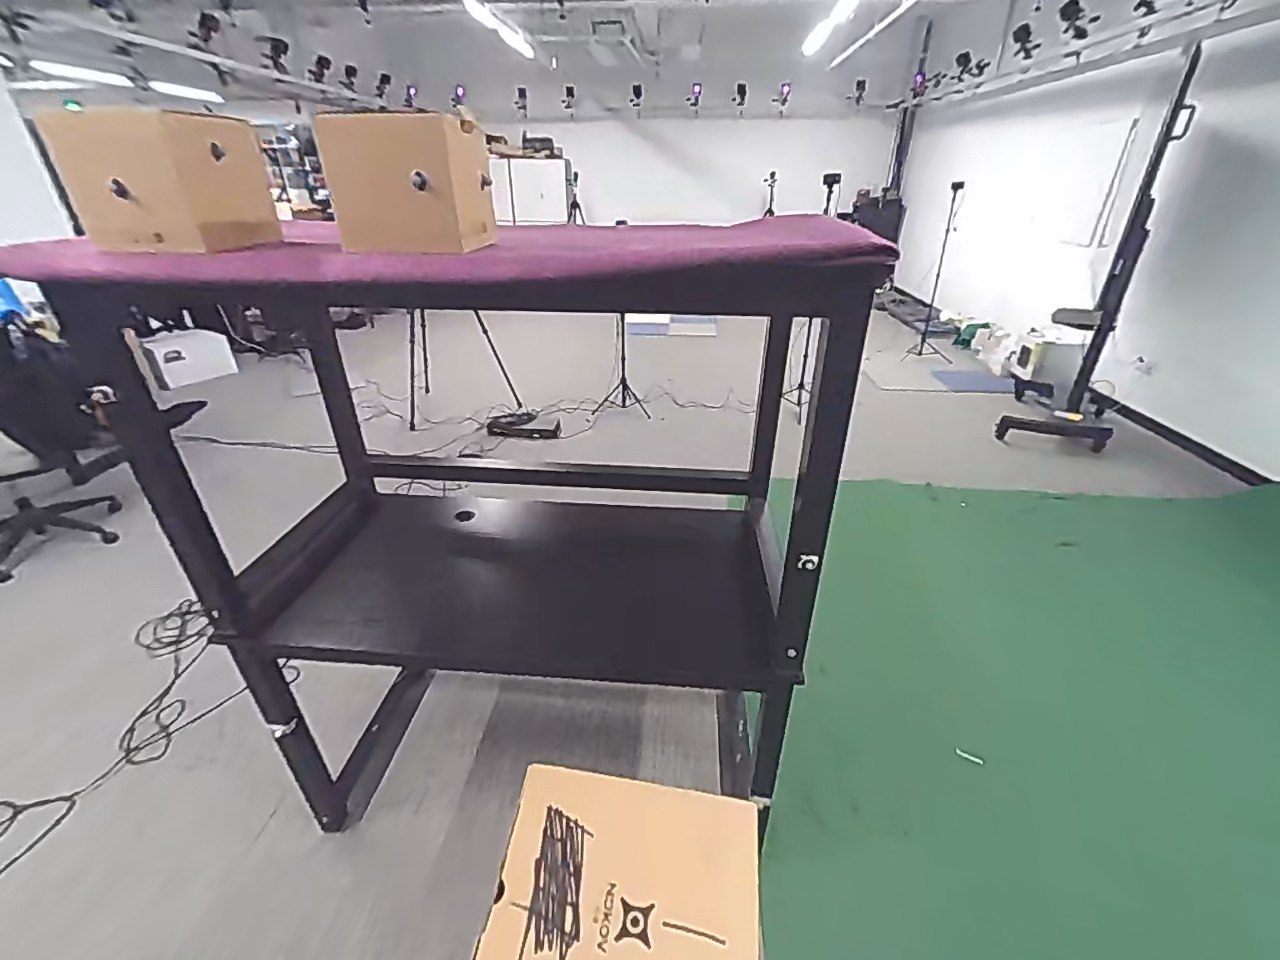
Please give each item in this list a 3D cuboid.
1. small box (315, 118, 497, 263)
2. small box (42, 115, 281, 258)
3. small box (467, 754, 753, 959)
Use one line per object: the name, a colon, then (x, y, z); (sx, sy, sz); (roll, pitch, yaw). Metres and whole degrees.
small box: (-0.322, -0.418, 0.789); (0.179, 0.176, 0.168); (1, 28, 4)
small box: (-0.664, -0.421, 0.783); (0.168, 0.176, 0.179); (2, 29, 2)
small box: (-0.015, 0.336, 0.405); (0.179, 0.176, 0.168); (7, 41, 6)
